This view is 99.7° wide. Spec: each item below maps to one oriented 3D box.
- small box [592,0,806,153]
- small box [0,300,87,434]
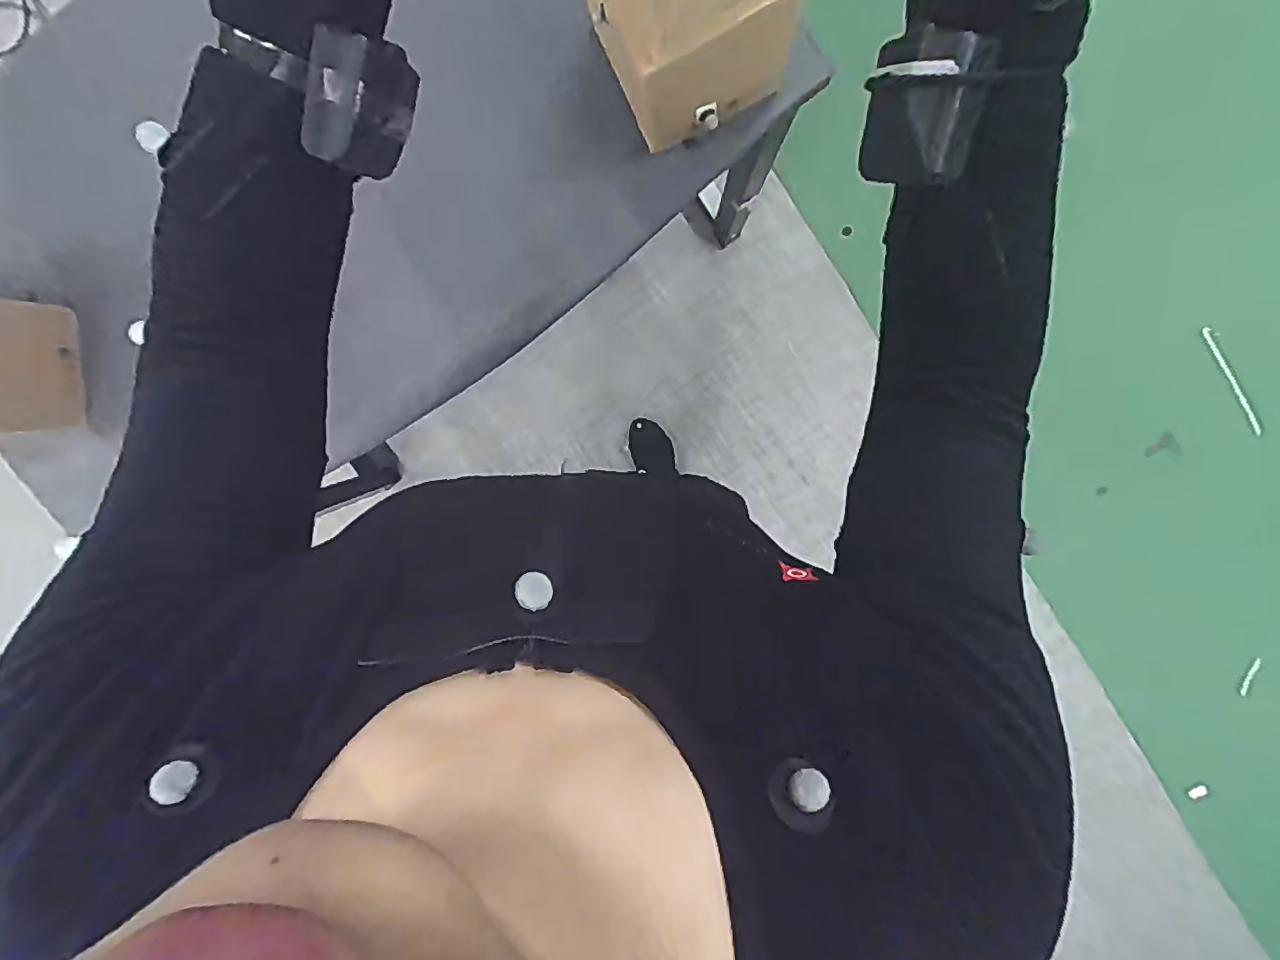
[{"bbox_3d":[0.049,-0.488,0.558,0.168,0.176,0.179,-25,95,9],"label":"small box"},{"bbox_3d":[-0.863,-0.147,0.676,0.179,0.176,0.168,6,101,1],"label":"small box"}]
